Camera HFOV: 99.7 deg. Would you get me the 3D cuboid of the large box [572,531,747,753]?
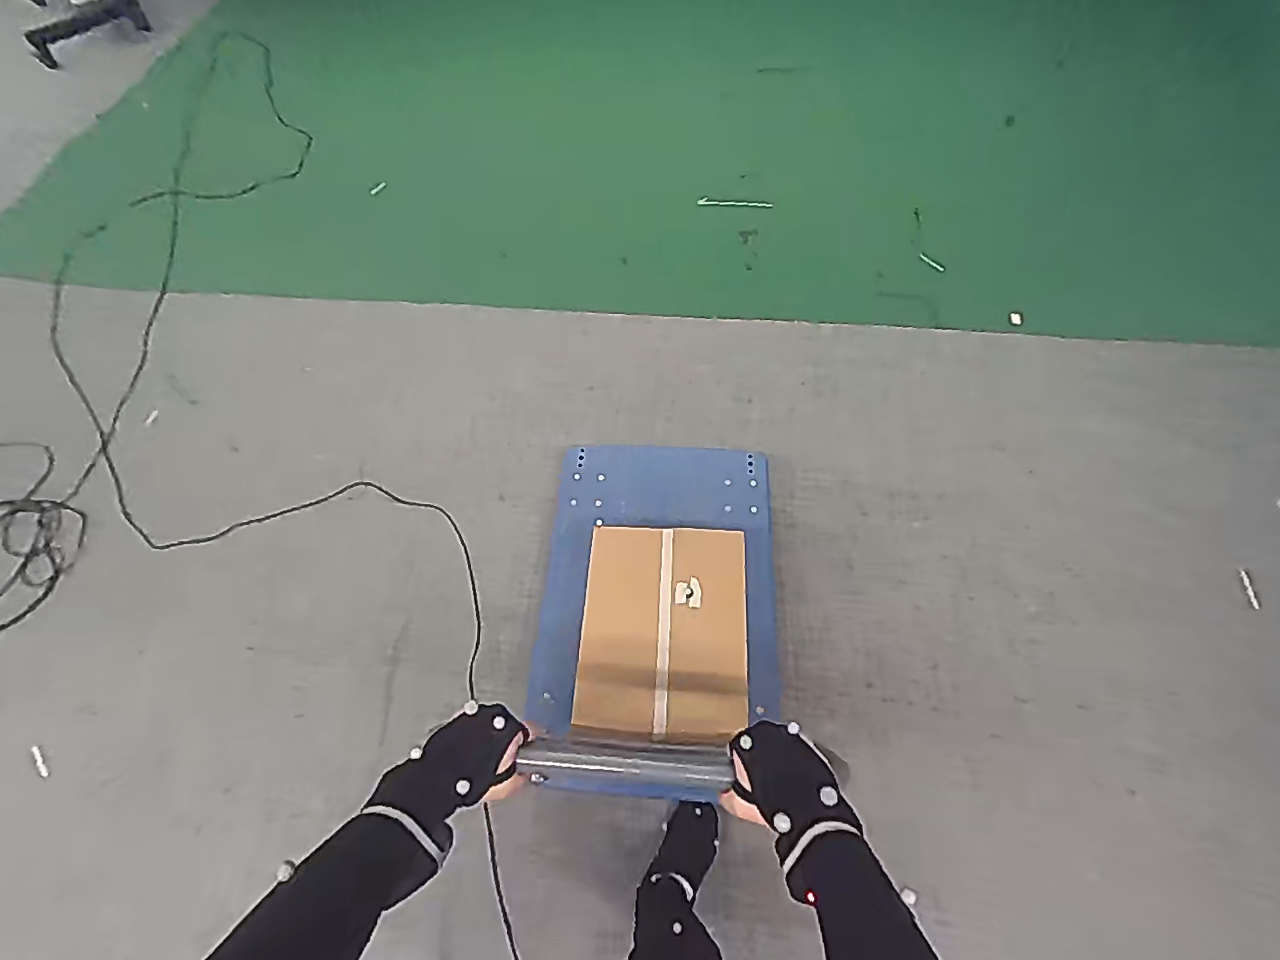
[{"bbox_3d":[0.050,0.356,1.166,0.320,0.320,0.408,2,61,4],"label":"large box"}]
